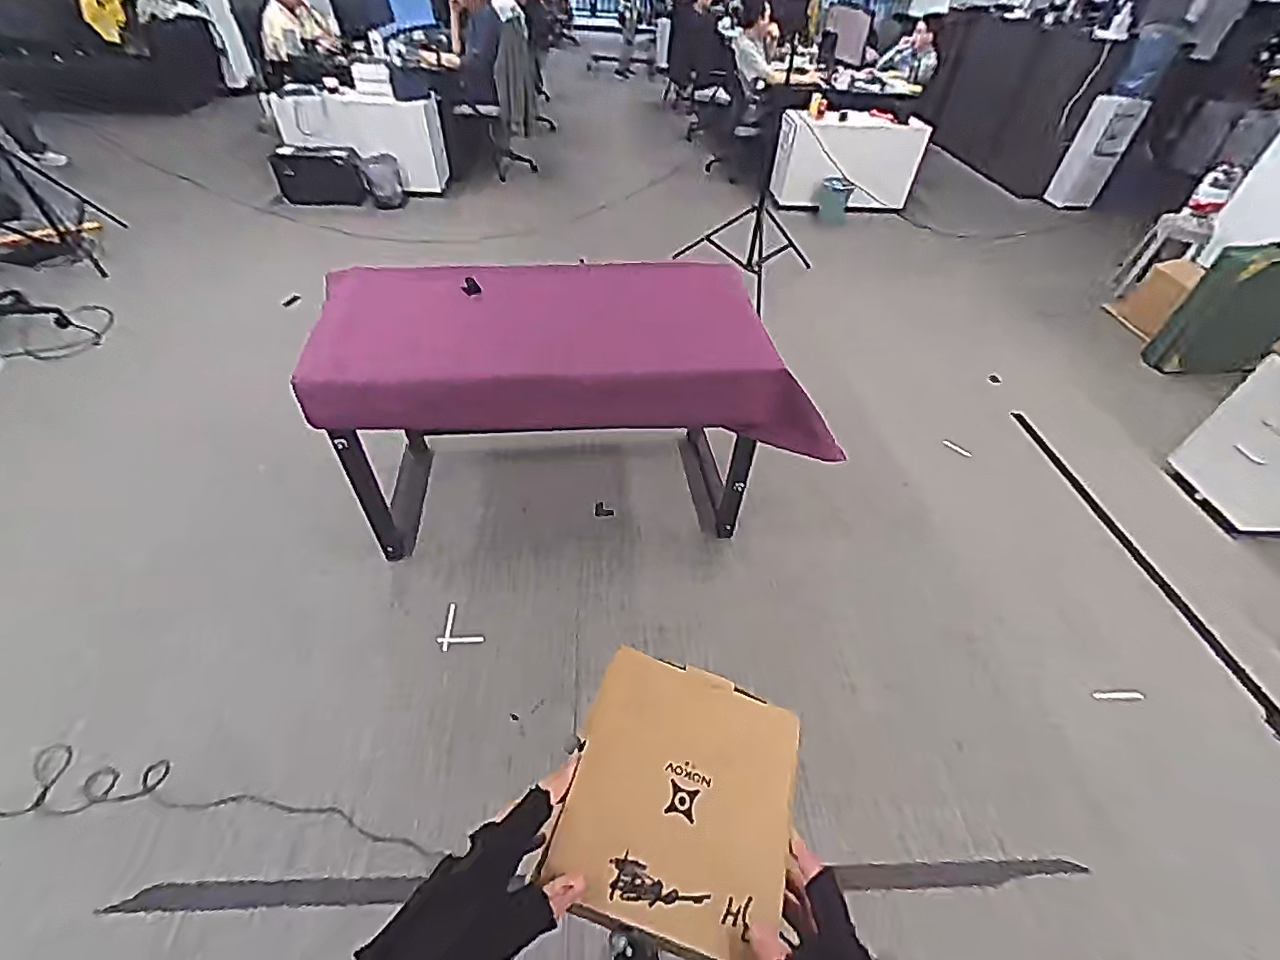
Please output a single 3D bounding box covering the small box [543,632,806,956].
[{"bbox_3d":[0.025,0.268,0.464,0.168,0.176,0.179,20,48,2],"label":"small box"}]
